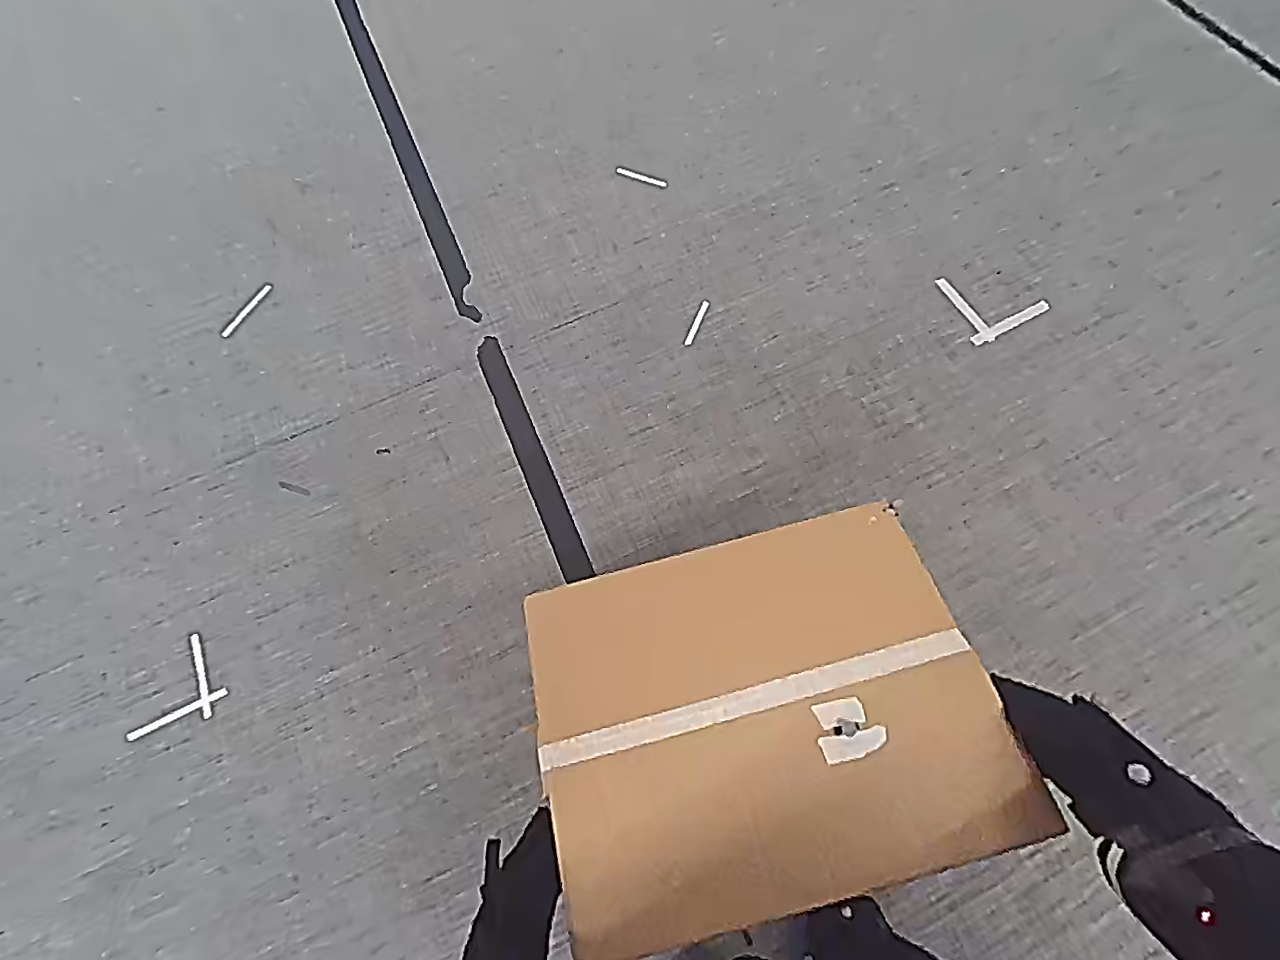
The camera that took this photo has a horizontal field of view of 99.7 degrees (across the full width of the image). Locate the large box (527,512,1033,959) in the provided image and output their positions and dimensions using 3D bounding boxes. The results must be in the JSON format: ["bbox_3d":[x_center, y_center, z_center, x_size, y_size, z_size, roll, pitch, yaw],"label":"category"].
[{"bbox_3d":[0.119,0.290,0.644,0.408,0.320,0.320,-16,59,-1],"label":"large box"}]
